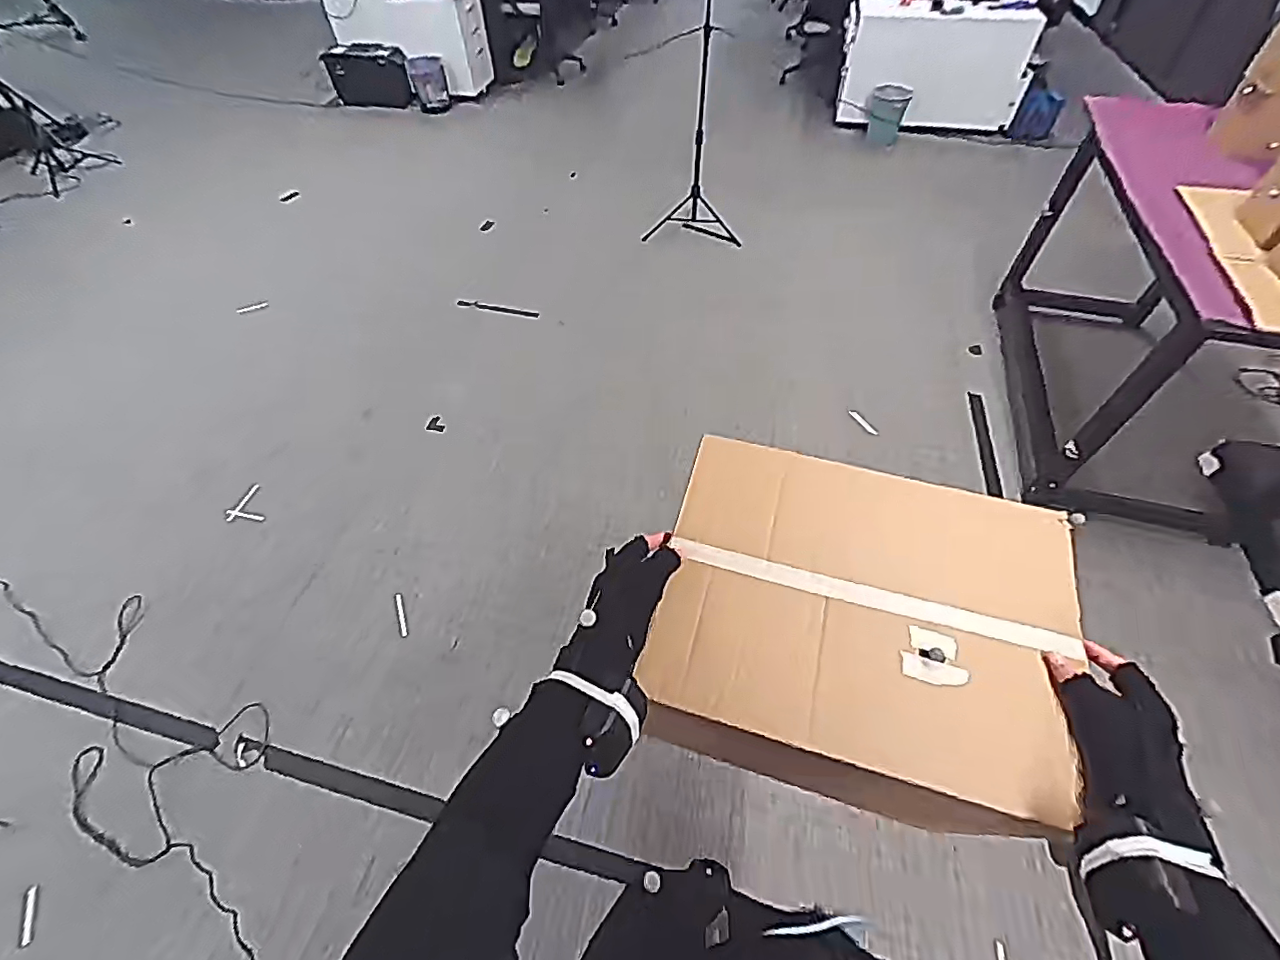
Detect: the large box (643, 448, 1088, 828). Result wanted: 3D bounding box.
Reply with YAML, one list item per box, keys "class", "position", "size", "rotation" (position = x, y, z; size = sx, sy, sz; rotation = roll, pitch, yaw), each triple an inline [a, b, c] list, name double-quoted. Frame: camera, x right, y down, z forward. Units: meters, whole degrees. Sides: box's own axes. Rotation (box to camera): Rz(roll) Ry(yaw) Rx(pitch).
- class: "large box"
  position: [0.235, 0.203, 0.690]
  size: [0.408, 0.320, 0.320]
  rotation: [14, 61, 10]
